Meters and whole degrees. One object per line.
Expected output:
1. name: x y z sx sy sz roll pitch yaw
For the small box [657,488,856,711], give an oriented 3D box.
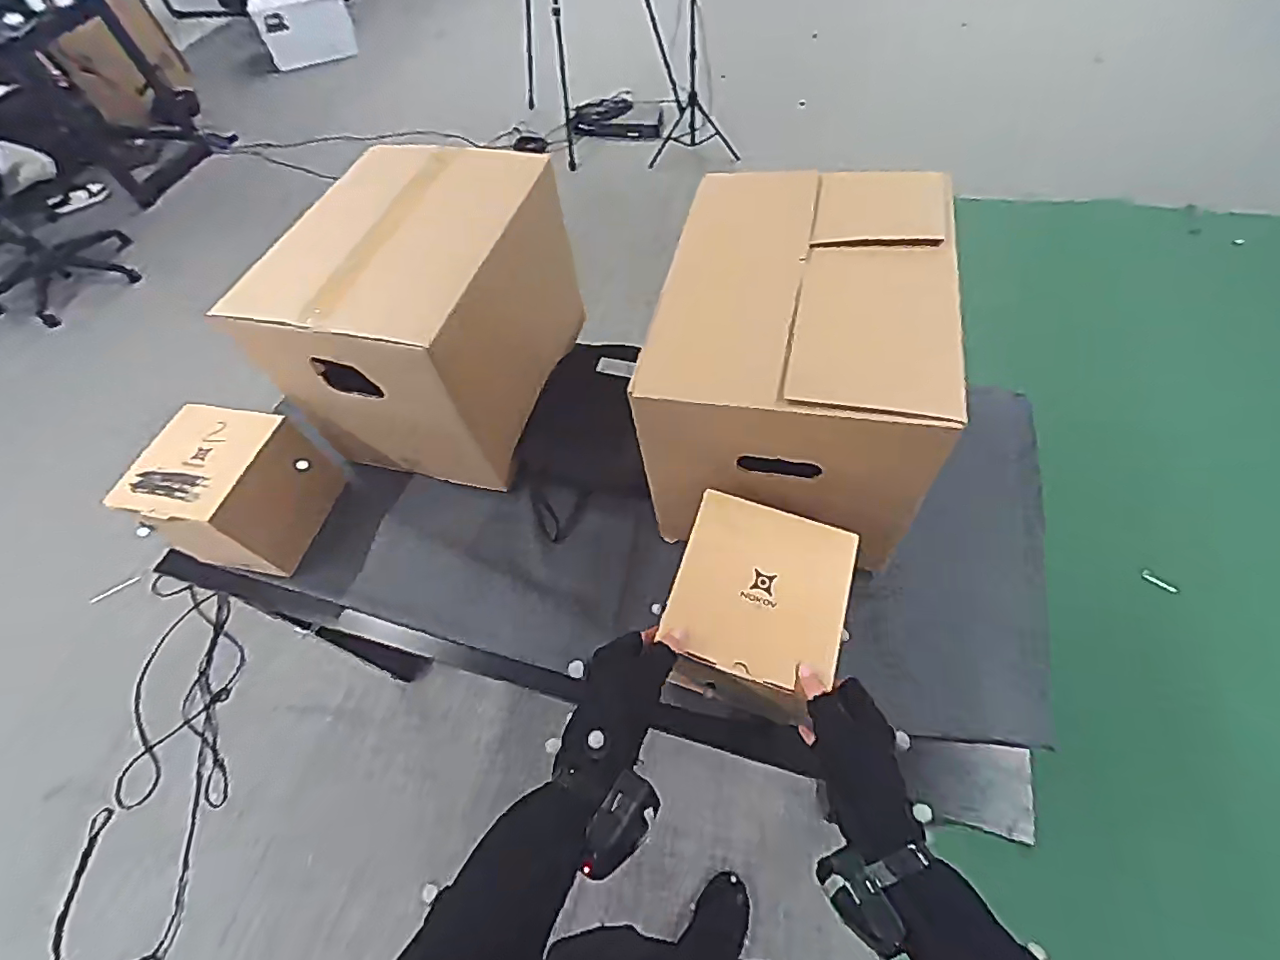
1. small box: 0.119 0.140 0.603 0.168 0.176 0.179 17 65 9
